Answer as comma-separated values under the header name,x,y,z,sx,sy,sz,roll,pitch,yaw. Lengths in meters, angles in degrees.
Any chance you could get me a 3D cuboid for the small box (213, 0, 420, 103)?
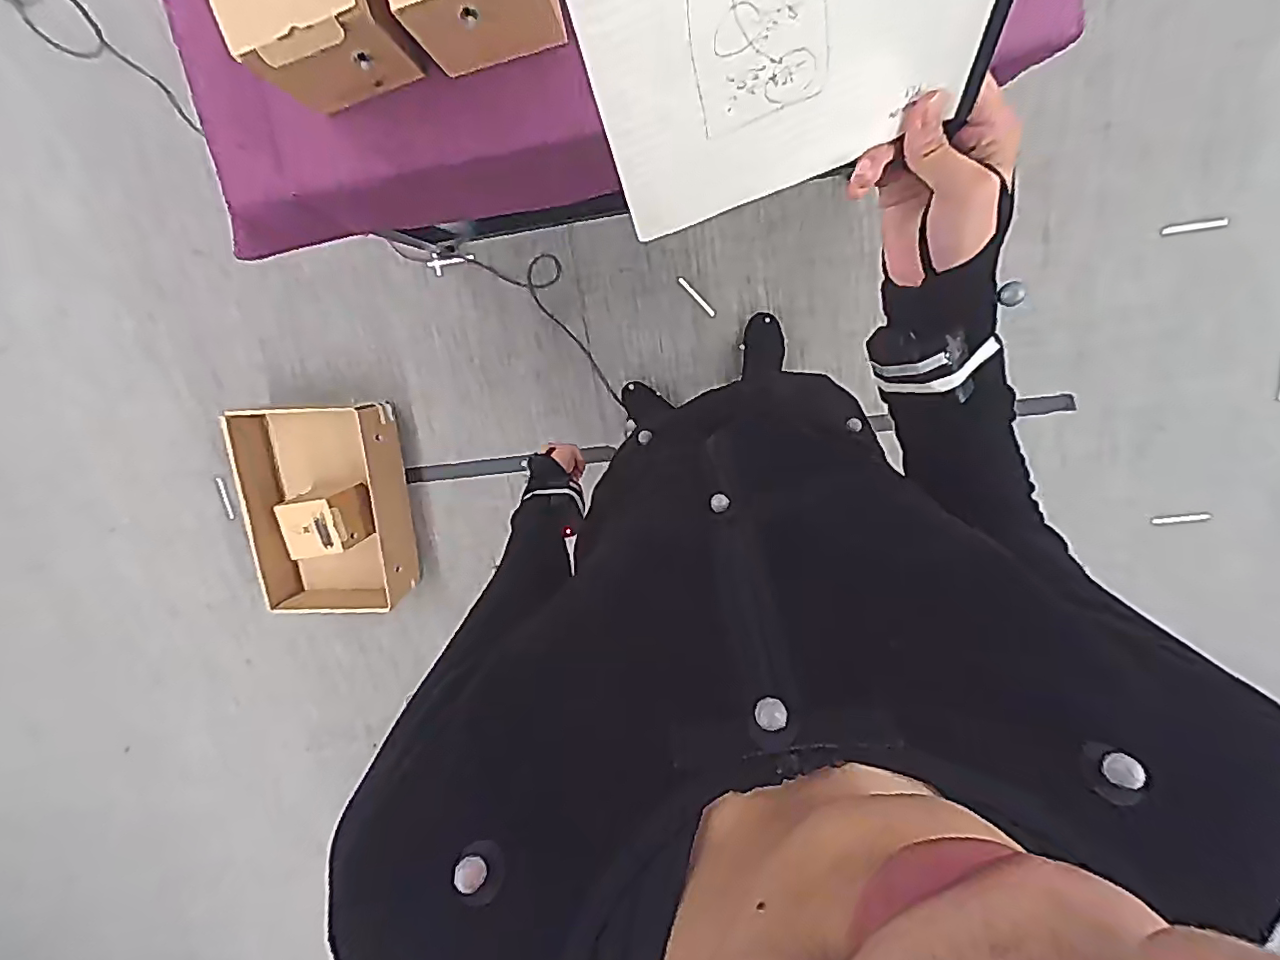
name,x,y,z,sx,sy,sz,roll,pitch,yaw
small box,-0.407,-0.608,0.673,0.168,0.176,0.179,-15,103,7
